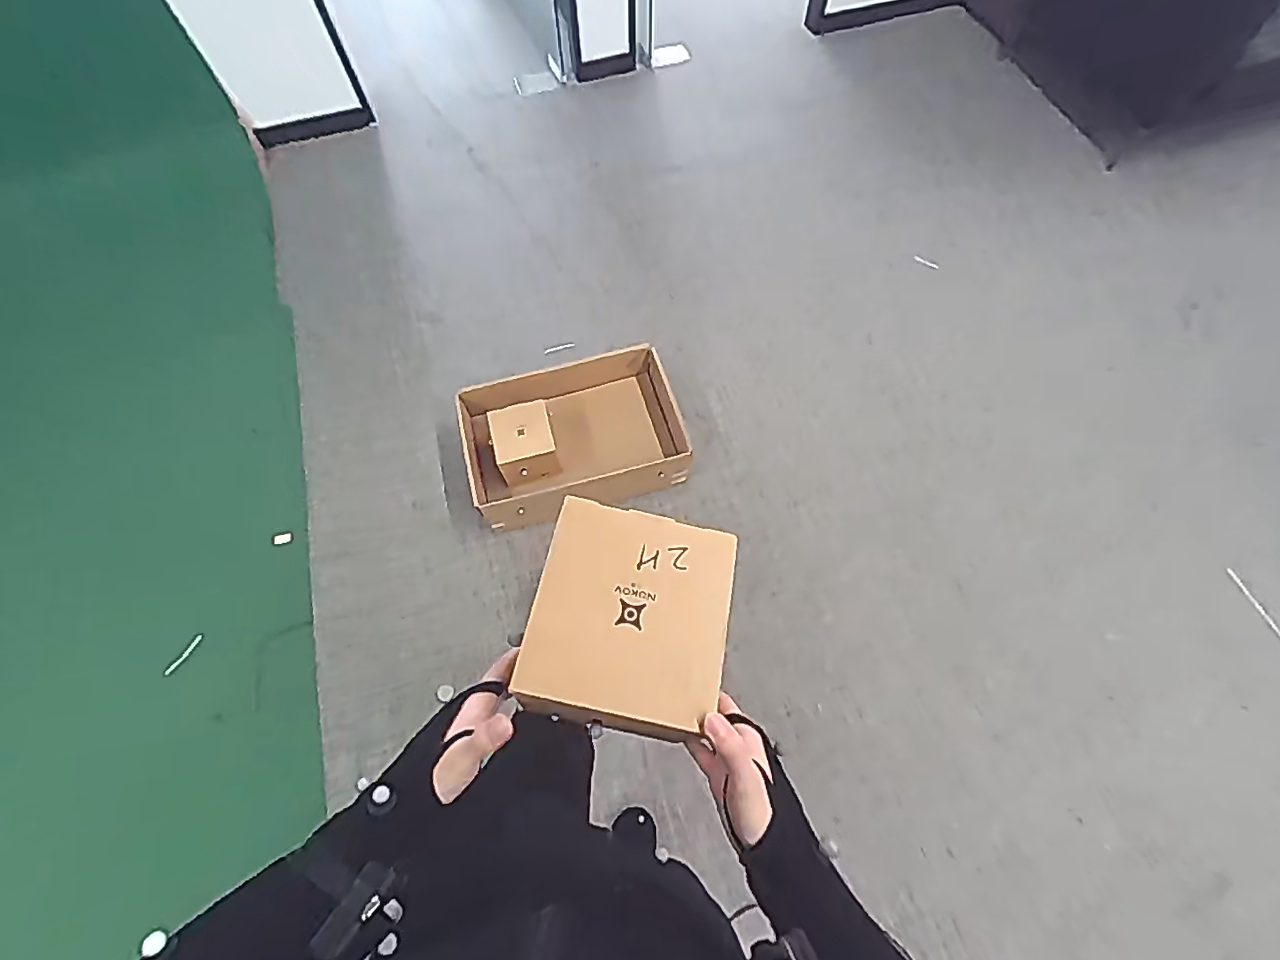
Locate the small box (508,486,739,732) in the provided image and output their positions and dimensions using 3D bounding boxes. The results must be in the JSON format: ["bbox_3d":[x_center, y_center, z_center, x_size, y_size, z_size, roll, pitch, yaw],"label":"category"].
[{"bbox_3d":[-0.015,0.135,0.528,0.168,0.176,0.179,14,61,-1],"label":"small box"}]

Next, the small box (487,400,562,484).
[{"bbox_3d":[-0.332,-0.102,1.574,0.168,0.176,0.179,-15,66,-7],"label":"small box"}]
